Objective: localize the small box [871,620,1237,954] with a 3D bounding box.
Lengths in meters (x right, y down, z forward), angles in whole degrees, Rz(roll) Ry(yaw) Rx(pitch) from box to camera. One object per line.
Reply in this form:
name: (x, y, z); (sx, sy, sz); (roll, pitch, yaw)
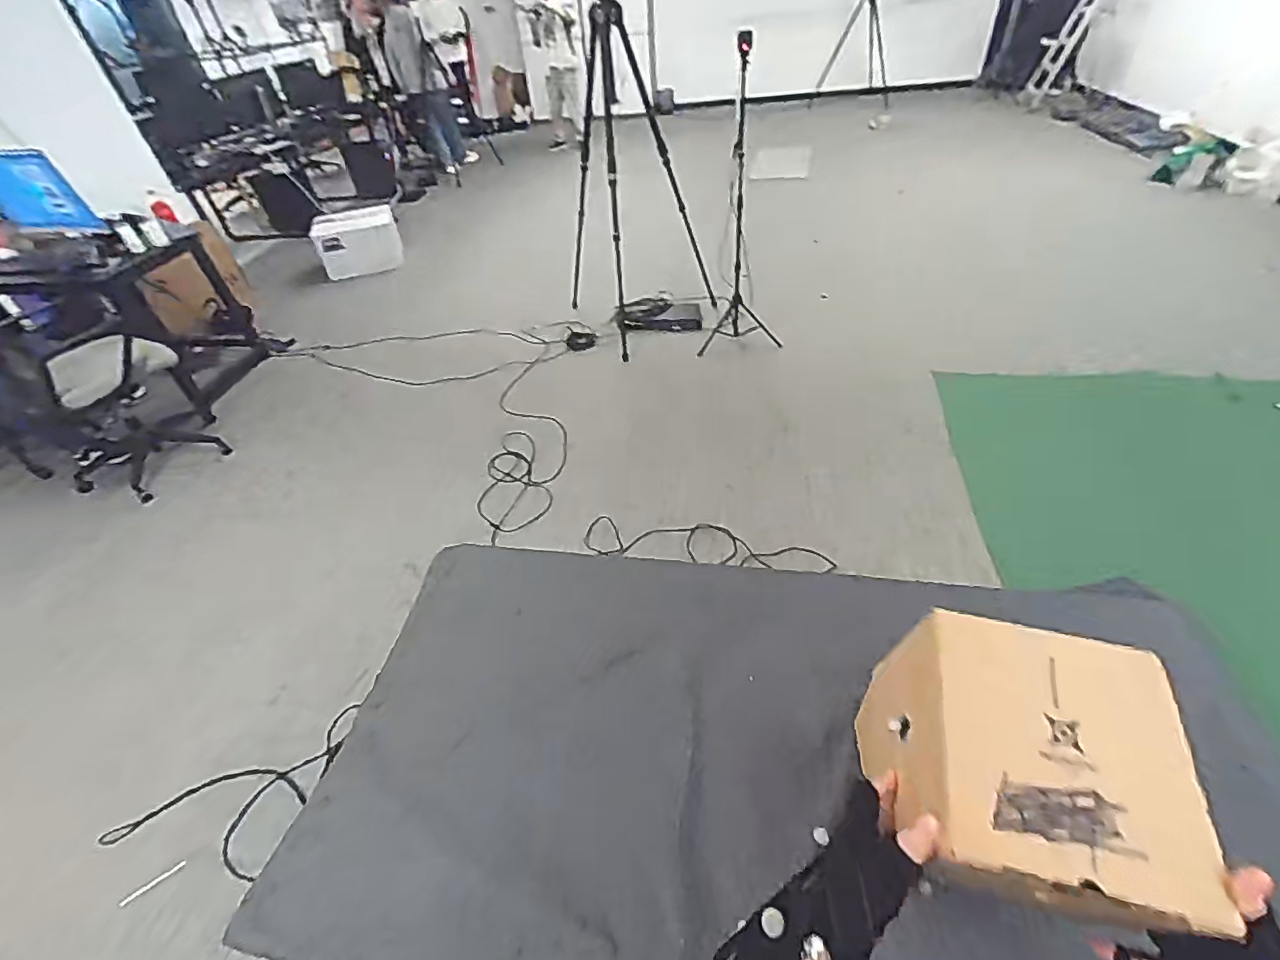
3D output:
small box: (0.300, 0.245, 0.445); (0.168, 0.176, 0.179); (11, 54, 10)
